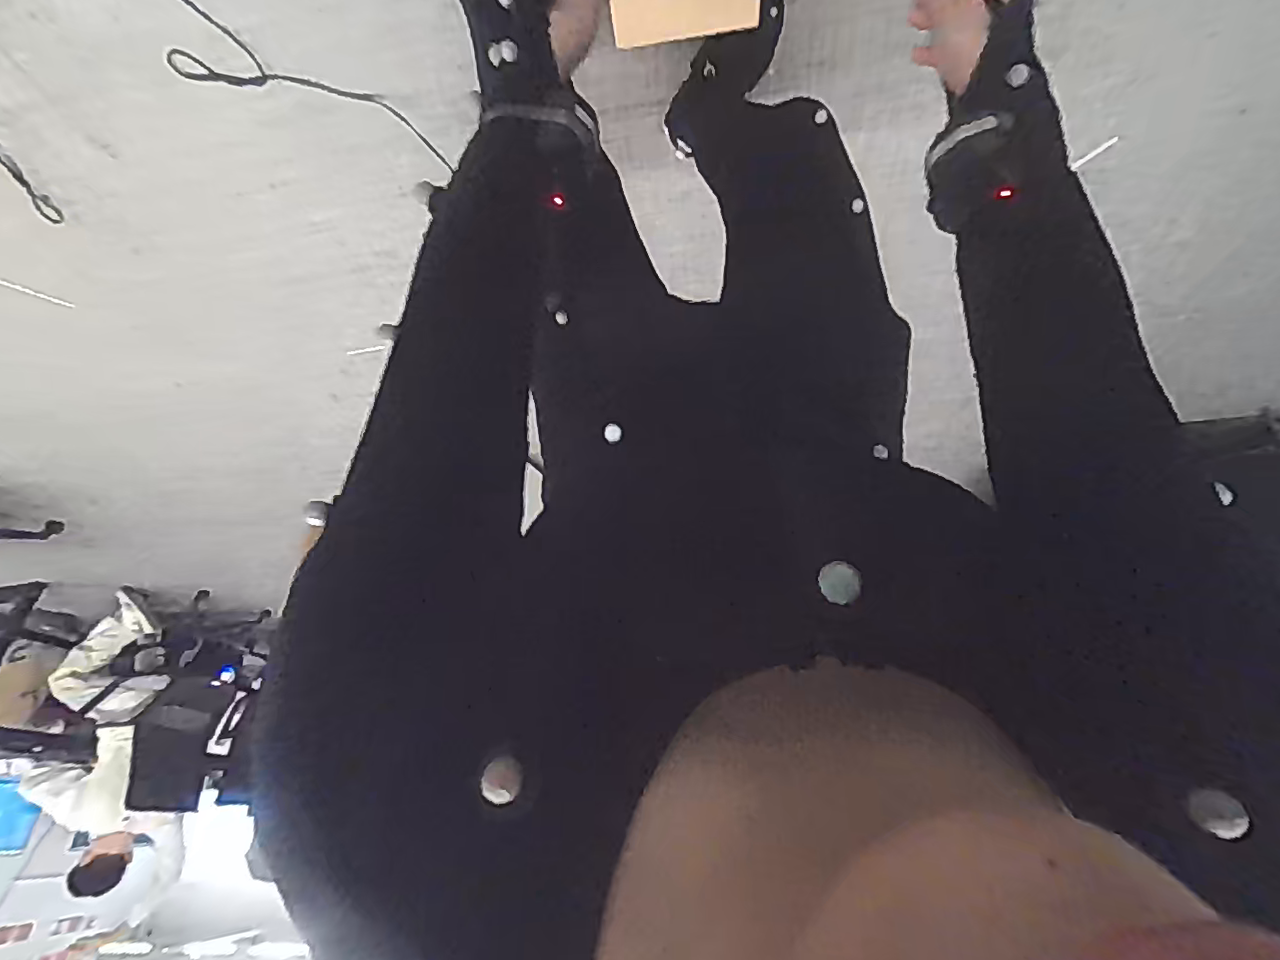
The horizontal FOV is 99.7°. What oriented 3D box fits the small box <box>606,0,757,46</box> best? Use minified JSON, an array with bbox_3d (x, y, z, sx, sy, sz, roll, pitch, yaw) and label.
[{"bbox_3d":[0.039,-0.651,0.632,0.179,0.176,0.168,-5,145,7],"label":"small box"}]
